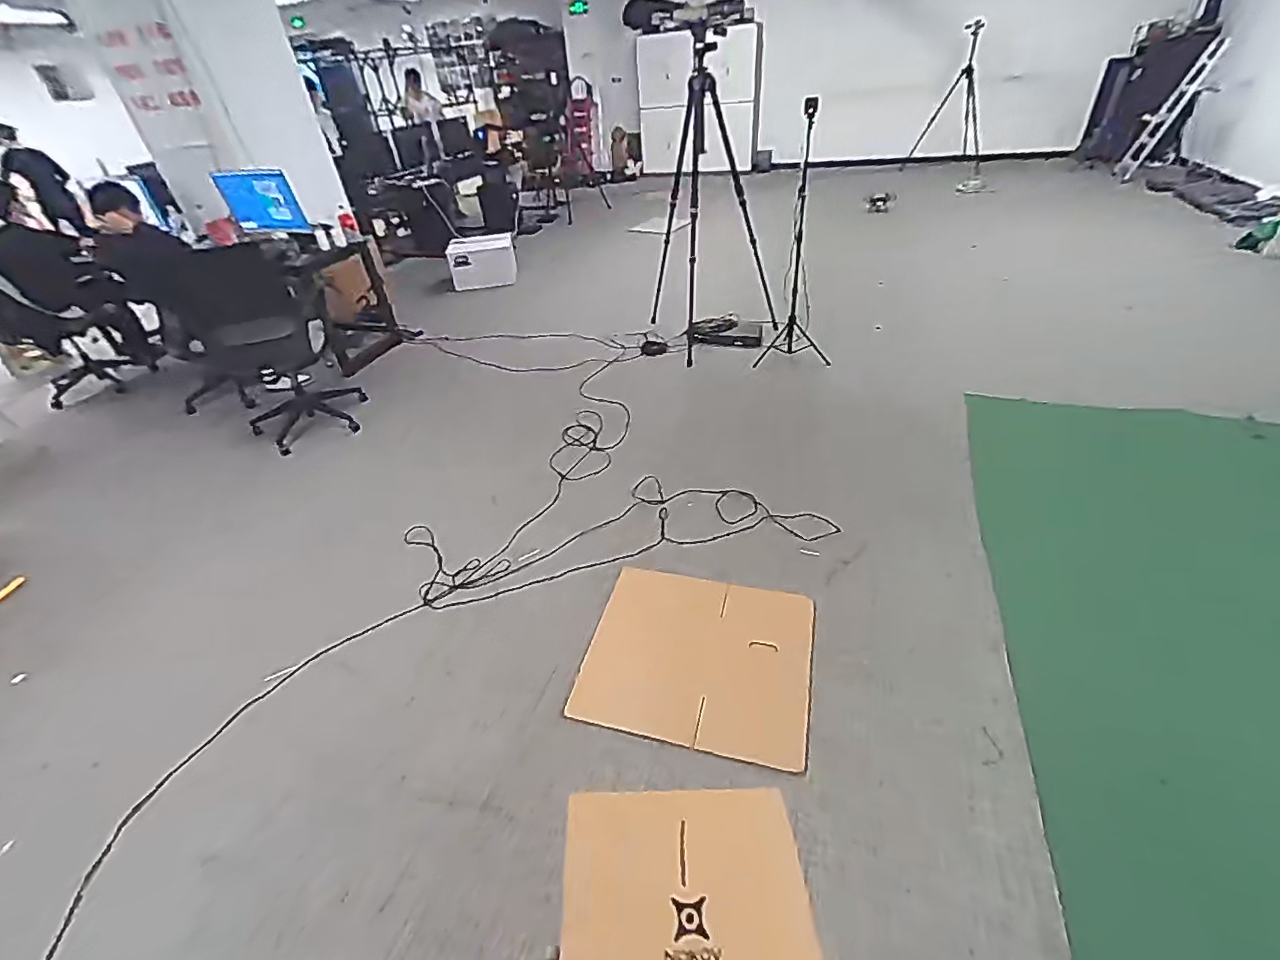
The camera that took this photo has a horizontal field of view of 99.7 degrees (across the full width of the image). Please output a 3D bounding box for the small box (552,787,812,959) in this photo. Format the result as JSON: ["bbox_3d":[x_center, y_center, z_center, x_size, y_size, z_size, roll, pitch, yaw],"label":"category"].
[{"bbox_3d":[0.023,0.354,0.395,0.168,0.176,0.179,1,37,-5],"label":"small box"}]
